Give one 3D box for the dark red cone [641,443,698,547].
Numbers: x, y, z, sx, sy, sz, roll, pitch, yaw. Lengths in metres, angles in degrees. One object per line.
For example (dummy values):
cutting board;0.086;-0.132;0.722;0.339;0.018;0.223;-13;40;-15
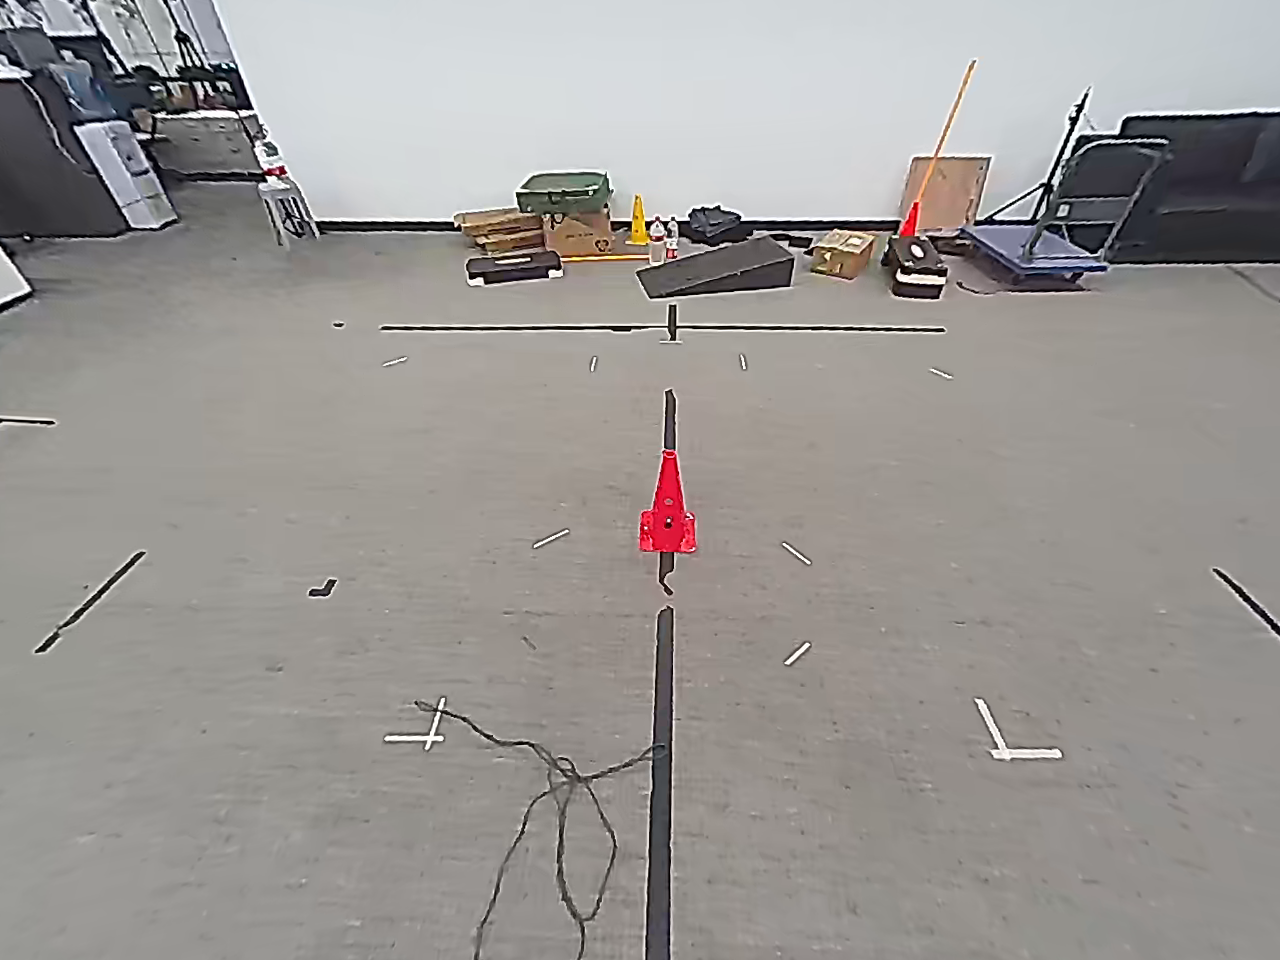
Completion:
dark red cone;0.101;0.038;1.818;0.201;0.394;0.202;0;41;3
